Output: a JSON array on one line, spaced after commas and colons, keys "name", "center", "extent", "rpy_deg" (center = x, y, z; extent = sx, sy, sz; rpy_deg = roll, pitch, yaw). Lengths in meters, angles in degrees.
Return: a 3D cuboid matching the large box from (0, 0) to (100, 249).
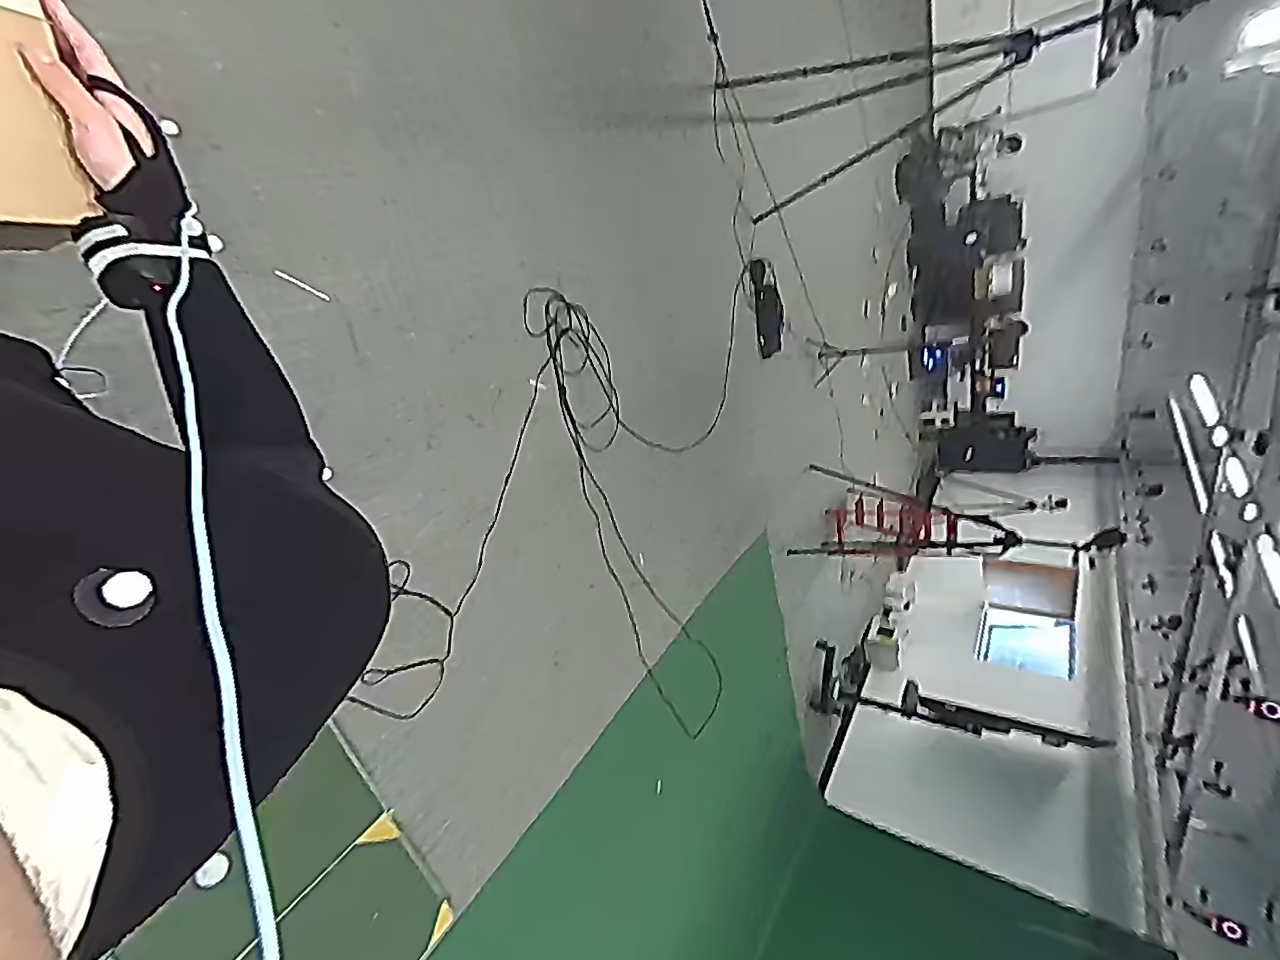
[{"name": "large box", "center": [-0.718, -0.336, 0.364], "extent": [0.408, 0.320, 0.320], "rpy_deg": [-25, 121, -48]}]
